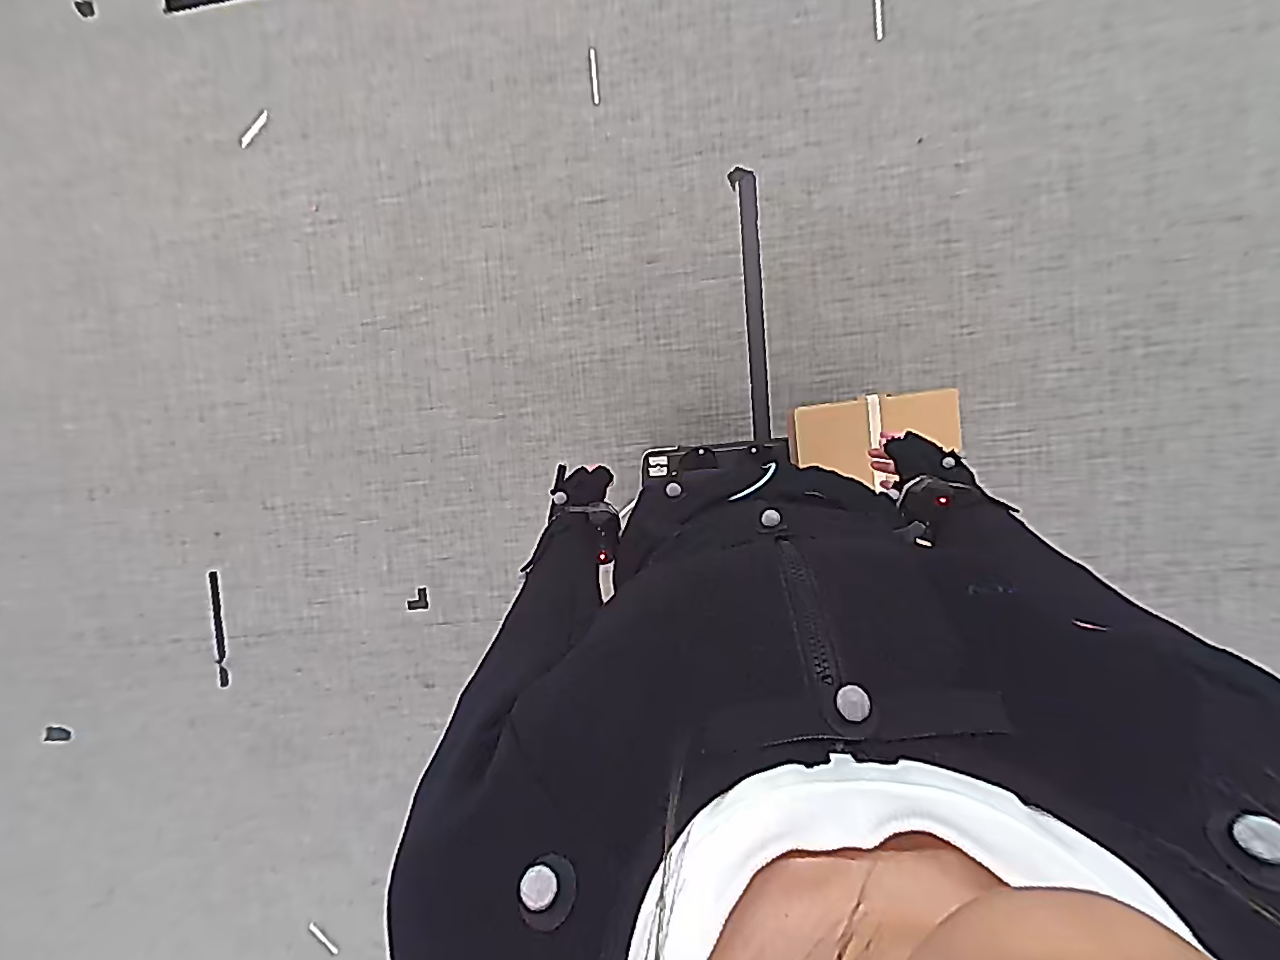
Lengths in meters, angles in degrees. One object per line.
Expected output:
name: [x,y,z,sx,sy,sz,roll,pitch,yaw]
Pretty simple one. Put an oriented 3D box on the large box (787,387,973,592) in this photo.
large box: [0.529,0.012,1.253,0.320,0.320,0.408,-6,95,13]
